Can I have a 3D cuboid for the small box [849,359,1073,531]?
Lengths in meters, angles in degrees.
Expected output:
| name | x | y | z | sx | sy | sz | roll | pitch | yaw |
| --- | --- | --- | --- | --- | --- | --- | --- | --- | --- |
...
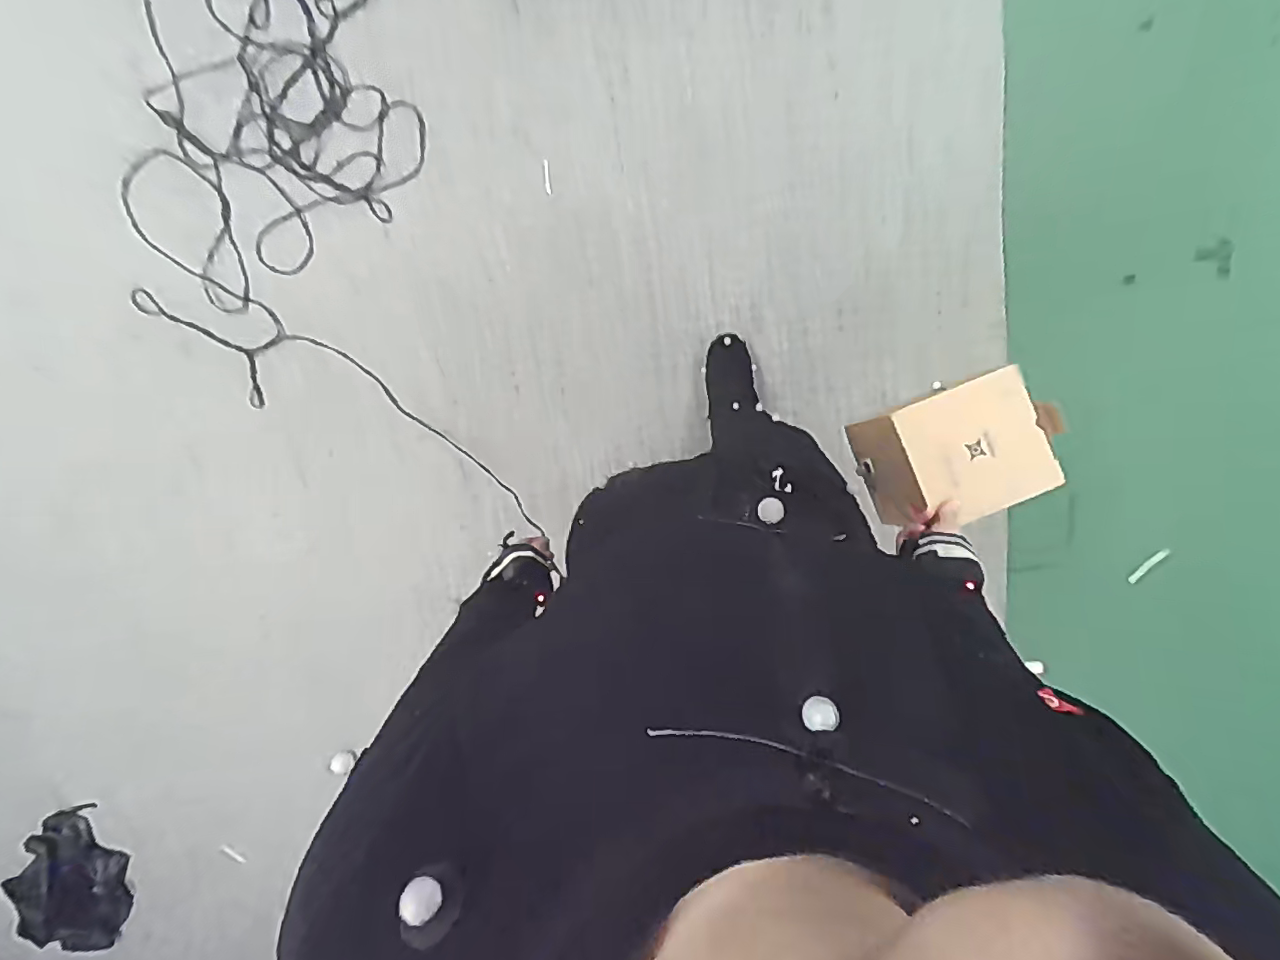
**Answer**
| name | x | y | z | sx | sy | sz | roll | pitch | yaw |
| --- | --- | --- | --- | --- | --- | --- | --- | --- | --- |
| small box | 0.423 | -0.043 | 0.744 | 0.179 | 0.176 | 0.168 | -24 | 88 | 0 |
